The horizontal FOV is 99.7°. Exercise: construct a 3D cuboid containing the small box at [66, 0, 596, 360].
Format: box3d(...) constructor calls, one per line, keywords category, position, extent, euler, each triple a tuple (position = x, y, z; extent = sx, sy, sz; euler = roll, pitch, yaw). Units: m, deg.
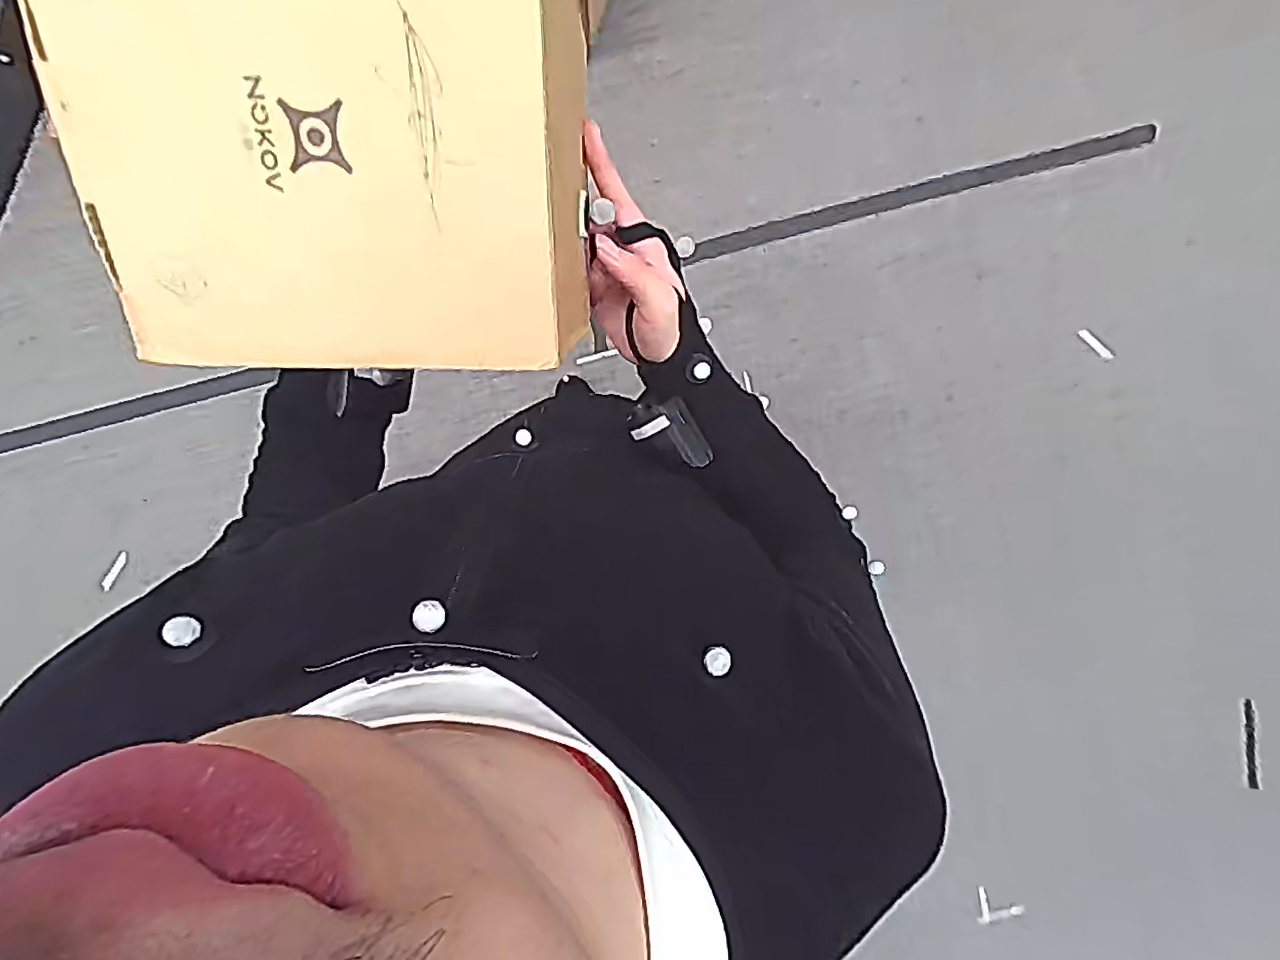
box3d(category="small box", position=(-0.117, -0.158, 0.280), extent=(0.179, 0.176, 0.168), euler=(0, 112, -1))
